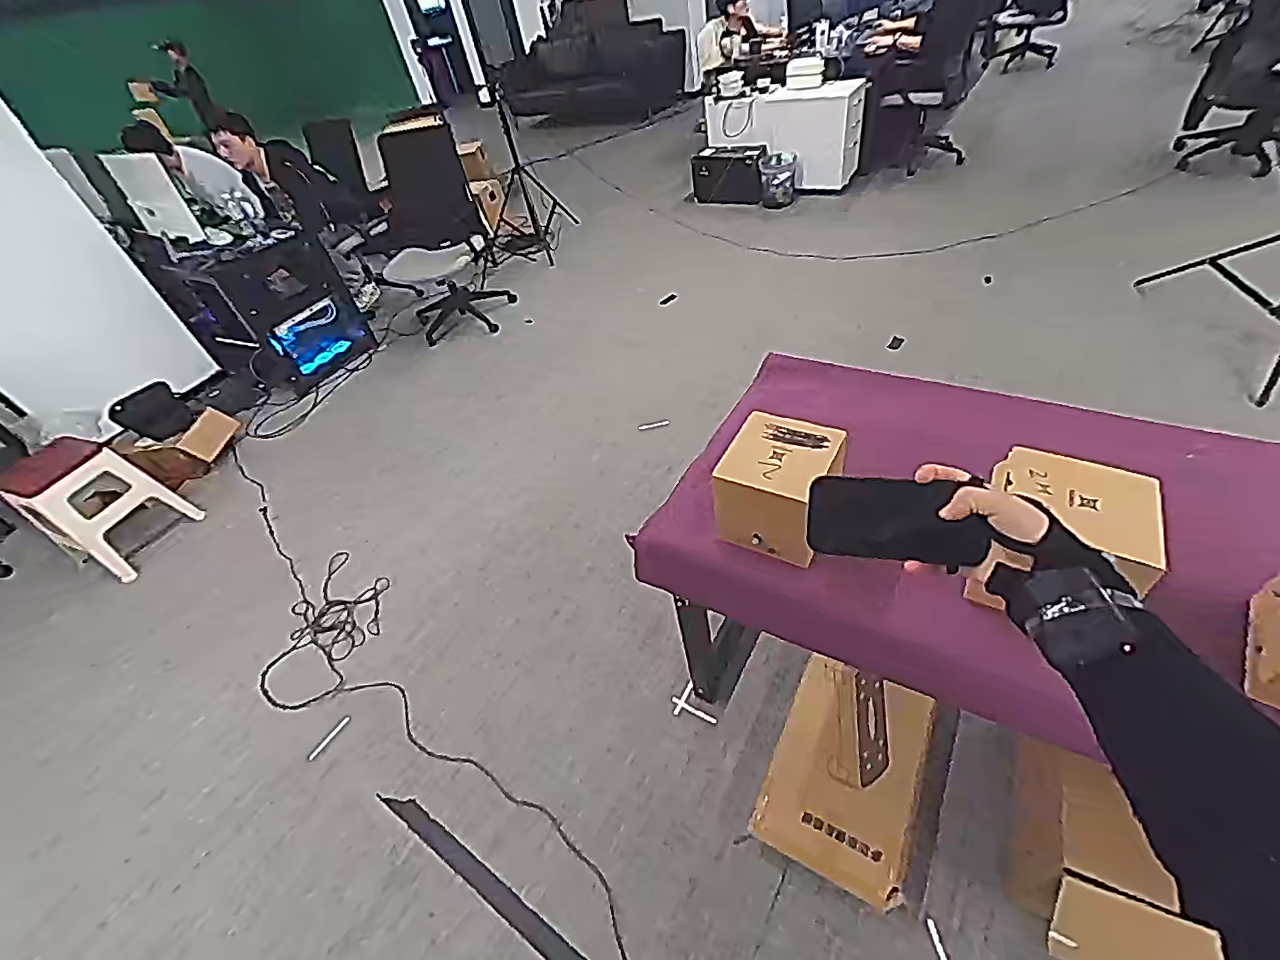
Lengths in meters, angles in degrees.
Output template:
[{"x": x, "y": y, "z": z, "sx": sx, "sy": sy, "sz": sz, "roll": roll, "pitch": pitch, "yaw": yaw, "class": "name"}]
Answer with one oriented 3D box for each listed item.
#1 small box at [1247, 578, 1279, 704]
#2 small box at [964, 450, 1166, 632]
[{"x": 0.848, "y": 0.186, "z": 0.608, "sx": 0.179, "sy": 0.176, "sz": 0.168, "roll": 23, "pitch": 55, "yaw": 31, "class": "small box"}, {"x": 0.589, "y": 0.088, "z": 0.766, "sx": 0.179, "sy": 0.176, "sz": 0.168, "roll": 16, "pitch": 49, "yaw": 27, "class": "small box"}]
